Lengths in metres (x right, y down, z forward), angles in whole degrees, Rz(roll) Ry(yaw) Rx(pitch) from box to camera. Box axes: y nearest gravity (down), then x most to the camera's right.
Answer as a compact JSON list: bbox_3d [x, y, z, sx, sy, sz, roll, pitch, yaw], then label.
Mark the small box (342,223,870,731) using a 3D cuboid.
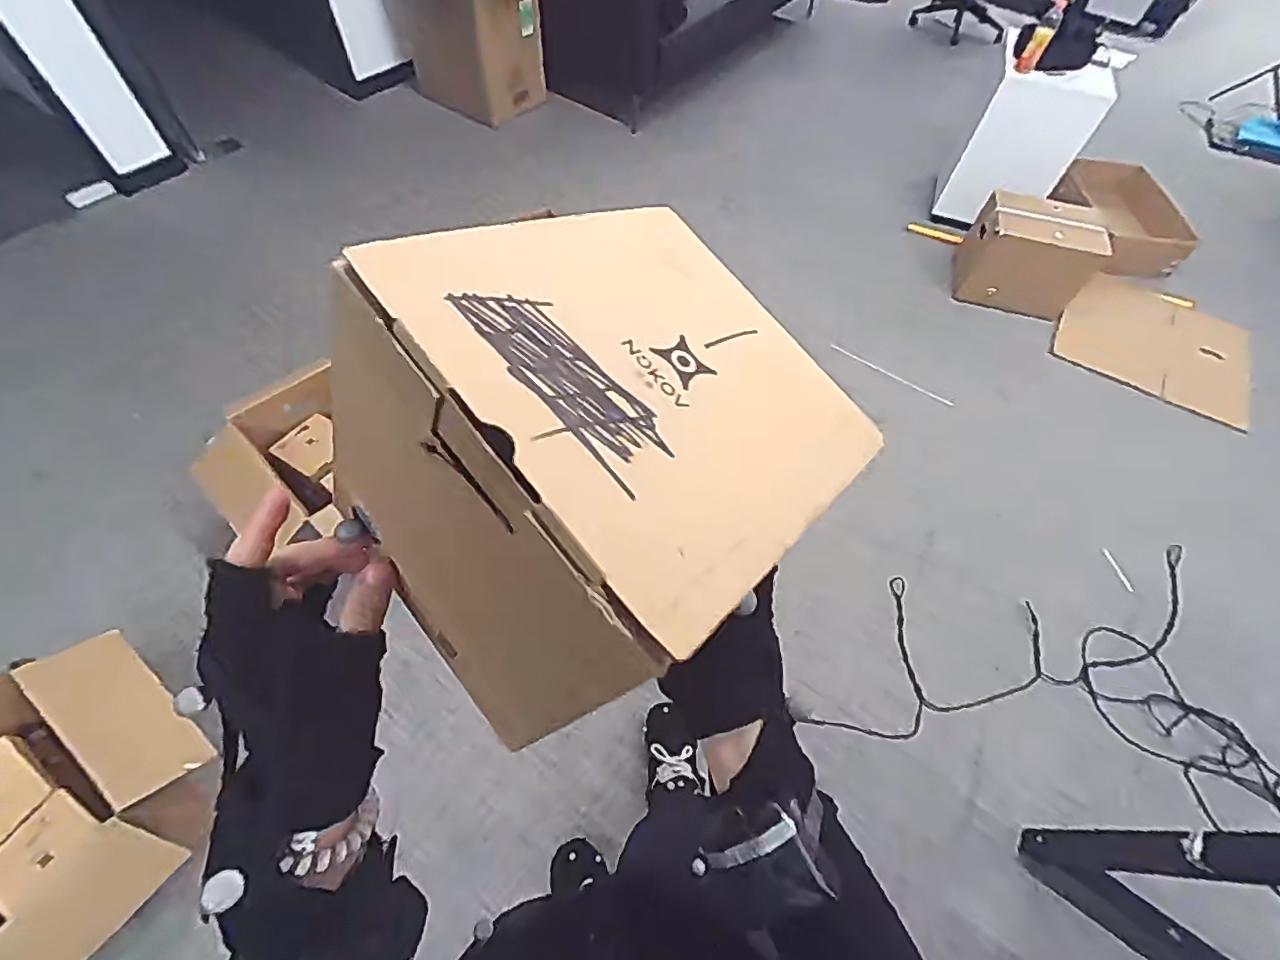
[{"bbox_3d":[-0.026,0.000,0.282,0.168,0.176,0.179,50,49,8],"label":"small box"}]
